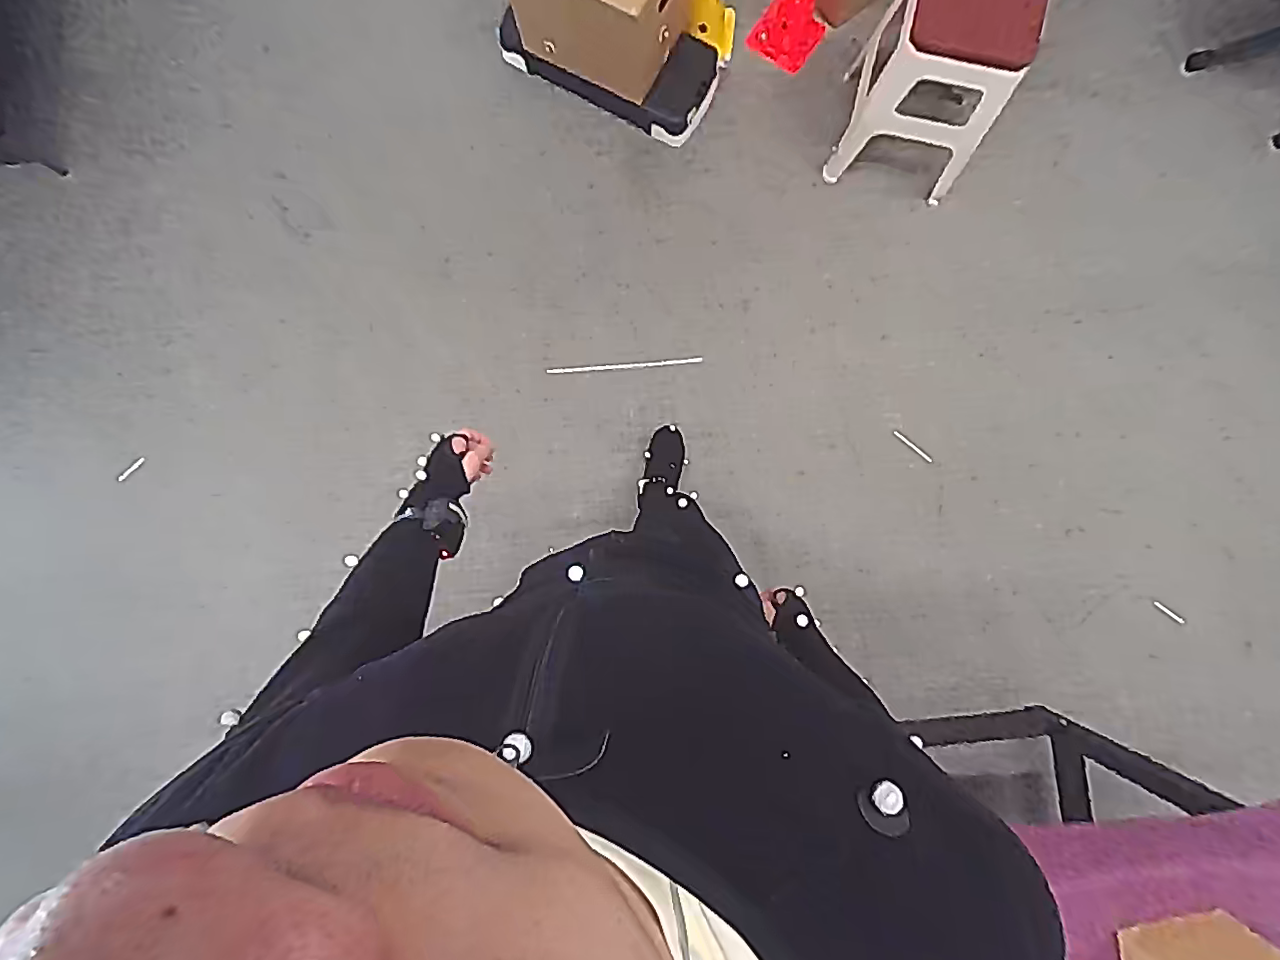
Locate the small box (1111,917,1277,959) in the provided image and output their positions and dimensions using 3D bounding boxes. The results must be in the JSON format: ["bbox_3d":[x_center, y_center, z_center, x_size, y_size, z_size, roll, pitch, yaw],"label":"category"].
[{"bbox_3d":[0.838,0.769,0.768,0.179,0.176,0.168,-10,86,1],"label":"small box"}]
